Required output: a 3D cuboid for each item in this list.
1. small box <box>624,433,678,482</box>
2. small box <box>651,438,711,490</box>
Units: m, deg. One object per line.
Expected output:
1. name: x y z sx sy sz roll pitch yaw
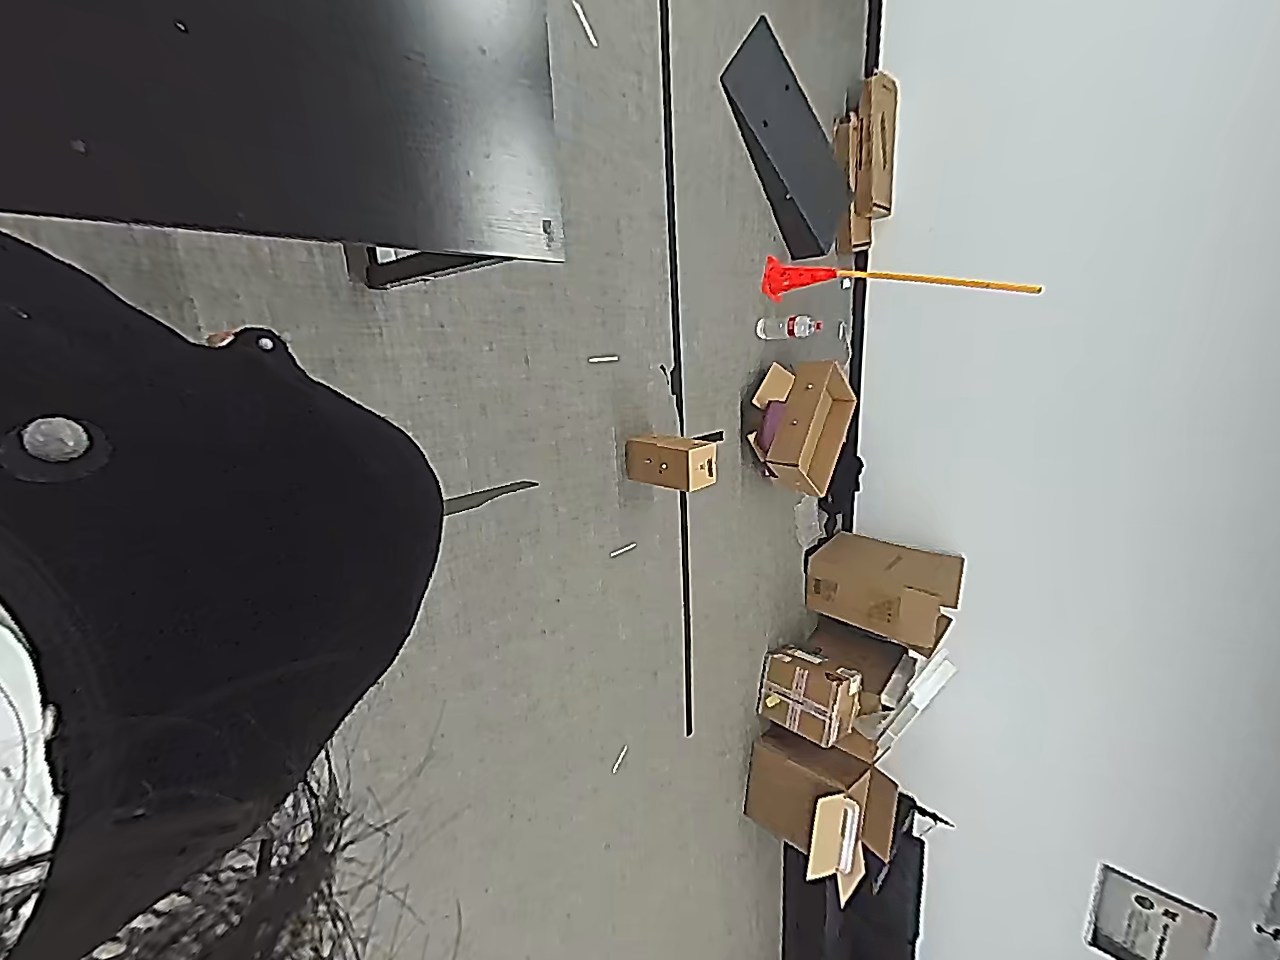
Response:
1. small box: 0.044 -0.096 2.244 0.168 0.176 0.179 -17 112 -44
2. small box: 0.162 -0.069 2.132 0.179 0.176 0.168 -17 111 -44
